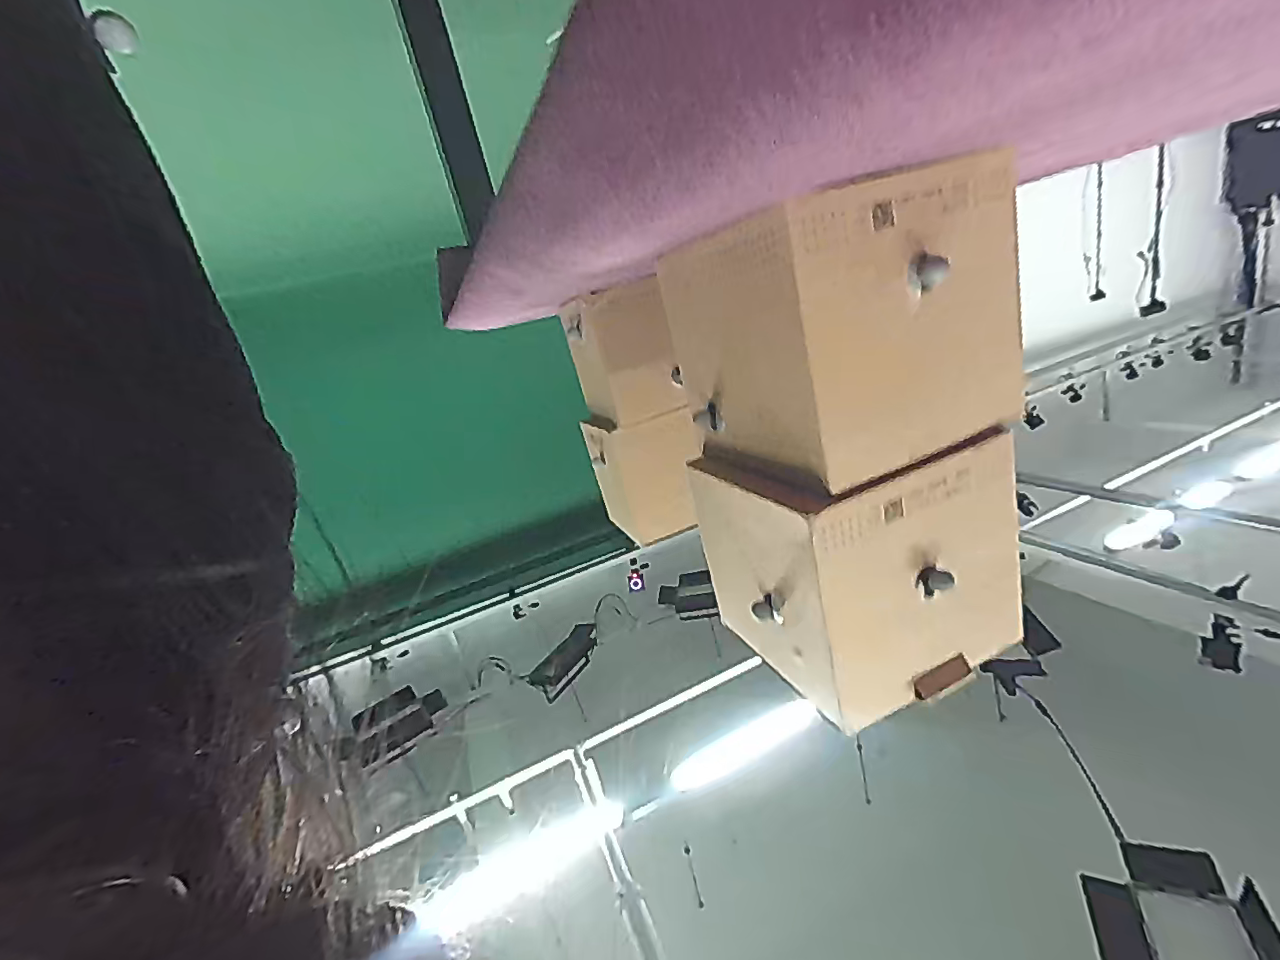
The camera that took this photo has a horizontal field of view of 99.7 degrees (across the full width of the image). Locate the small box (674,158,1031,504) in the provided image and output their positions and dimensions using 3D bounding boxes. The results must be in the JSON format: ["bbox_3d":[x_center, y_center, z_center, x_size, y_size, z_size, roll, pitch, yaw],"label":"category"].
[{"bbox_3d":[0.138,-0.104,0.387,0.168,0.176,0.179,-21,-163,-16],"label":"small box"}]

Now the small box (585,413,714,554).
[{"bbox_3d":[0.040,-0.021,0.783,0.179,0.176,0.168,-20,-165,-15],"label":"small box"}]

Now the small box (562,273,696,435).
[{"bbox_3d":[0.014,-0.174,0.725,0.179,0.176,0.168,-20,-164,-15],"label":"small box"}]

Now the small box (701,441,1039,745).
[{"bbox_3d":[0.165,0.055,0.425,0.168,0.176,0.179,-20,-163,-15],"label":"small box"}]
